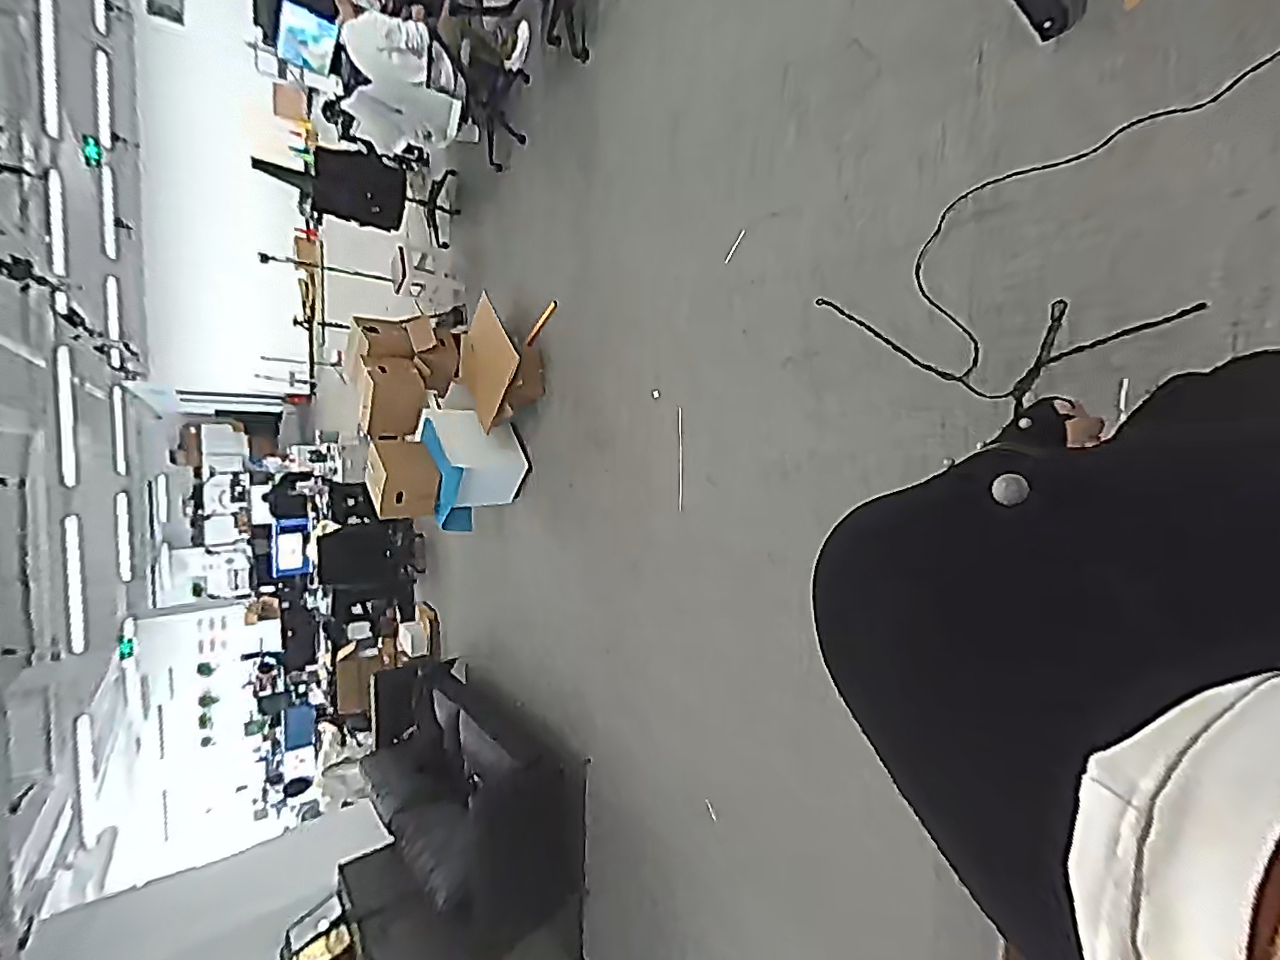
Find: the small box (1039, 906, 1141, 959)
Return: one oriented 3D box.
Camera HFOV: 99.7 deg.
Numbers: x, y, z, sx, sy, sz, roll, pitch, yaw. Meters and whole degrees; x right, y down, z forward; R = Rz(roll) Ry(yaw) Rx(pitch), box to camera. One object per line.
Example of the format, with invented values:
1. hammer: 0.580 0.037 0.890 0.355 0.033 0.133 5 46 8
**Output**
1. small box: 1.038 1.154 1.254 0.168 0.176 0.179 9 99 50
